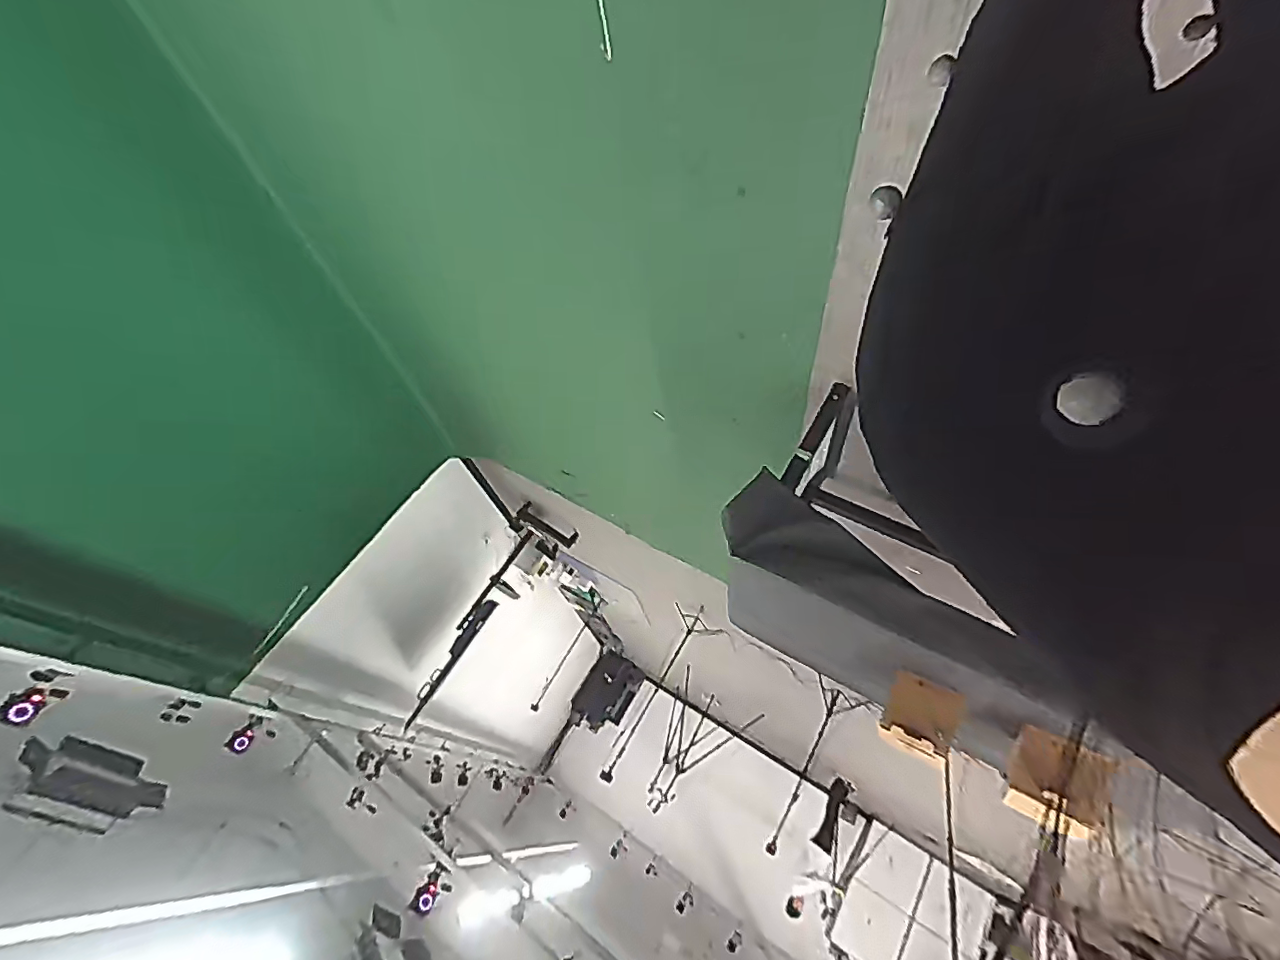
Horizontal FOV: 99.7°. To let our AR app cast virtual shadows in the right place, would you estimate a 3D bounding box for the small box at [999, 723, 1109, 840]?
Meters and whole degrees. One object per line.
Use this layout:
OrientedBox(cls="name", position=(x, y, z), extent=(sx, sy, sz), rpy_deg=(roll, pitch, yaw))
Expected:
OrientedBox(cls="small box", position=(0.992, 0.720, 1.299), extent=(0.168, 0.176, 0.179), rpy_deg=(18, 152, 36))
